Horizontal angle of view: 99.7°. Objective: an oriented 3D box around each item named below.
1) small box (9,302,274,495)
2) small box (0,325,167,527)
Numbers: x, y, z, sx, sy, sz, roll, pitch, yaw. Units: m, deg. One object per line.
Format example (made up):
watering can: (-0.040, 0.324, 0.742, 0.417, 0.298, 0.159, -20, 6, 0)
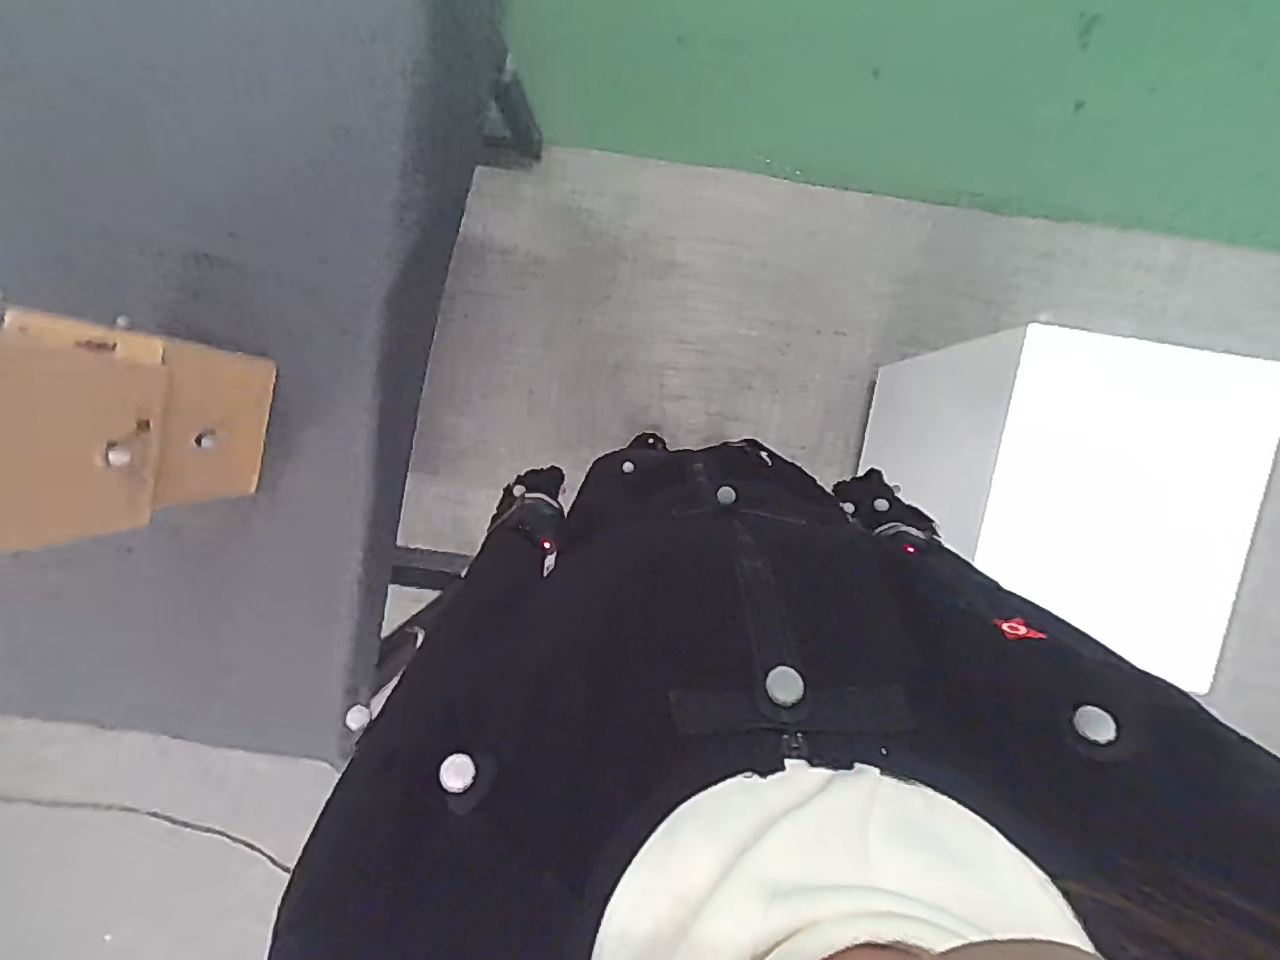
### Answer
small box: (-0.571, -0.087, 0.635, 0.168, 0.176, 0.179, 14, 96, 1)
small box: (-0.578, -0.055, 0.473, 0.179, 0.176, 0.168, 9, 96, 3)
